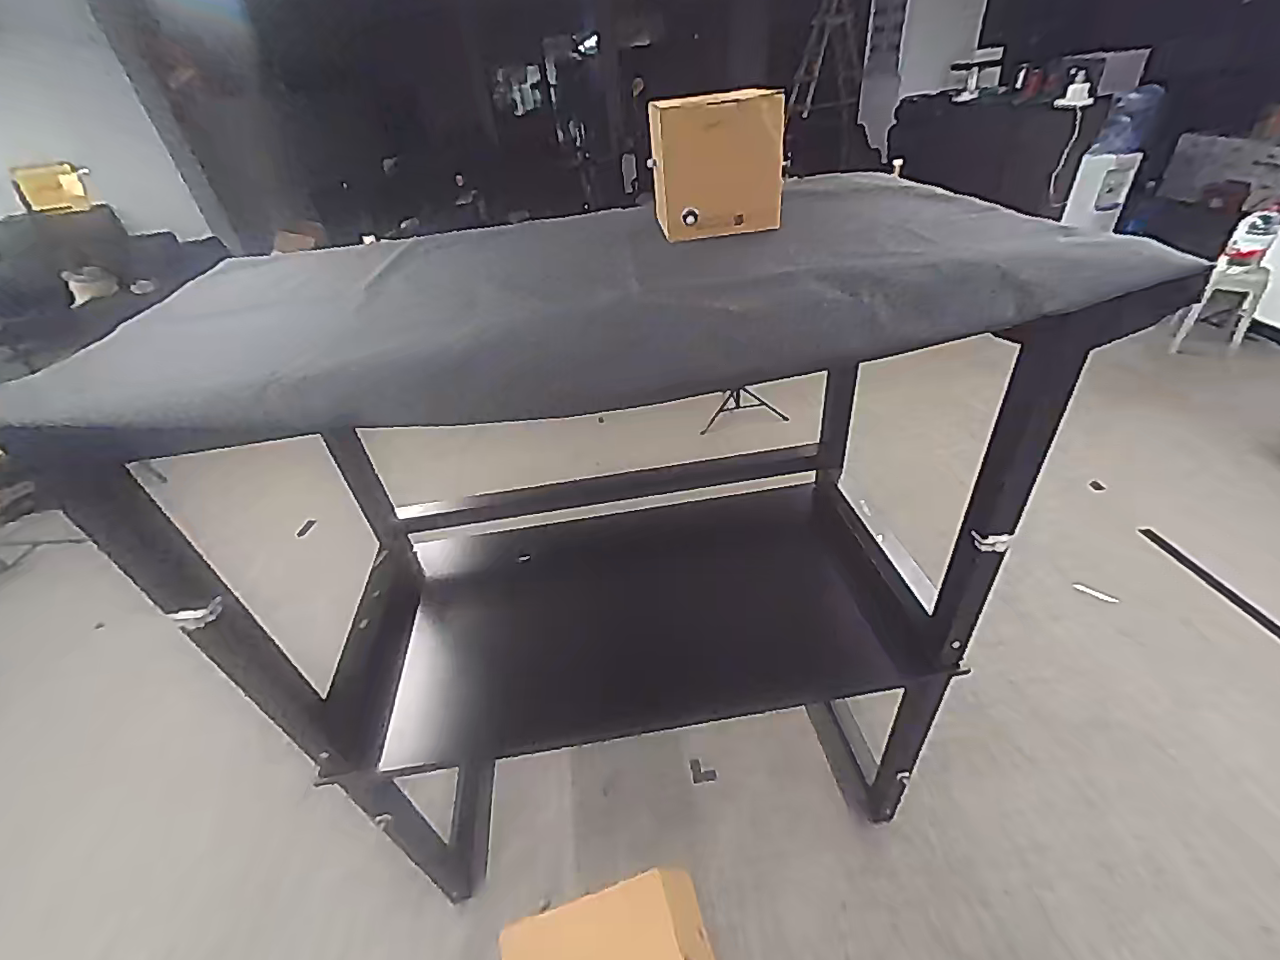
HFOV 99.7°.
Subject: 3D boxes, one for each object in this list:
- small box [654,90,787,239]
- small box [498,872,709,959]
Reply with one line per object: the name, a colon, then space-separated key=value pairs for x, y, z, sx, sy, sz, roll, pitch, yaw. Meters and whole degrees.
small box: x=0.115 y=-0.470 z=0.812 sx=0.168 sy=0.176 sz=0.179 roll=-7 pitch=36 yaw=0
small box: x=-0.020 y=0.519 z=0.546 sx=0.179 sy=0.176 sz=0.168 roll=-23 pitch=51 yaw=2
